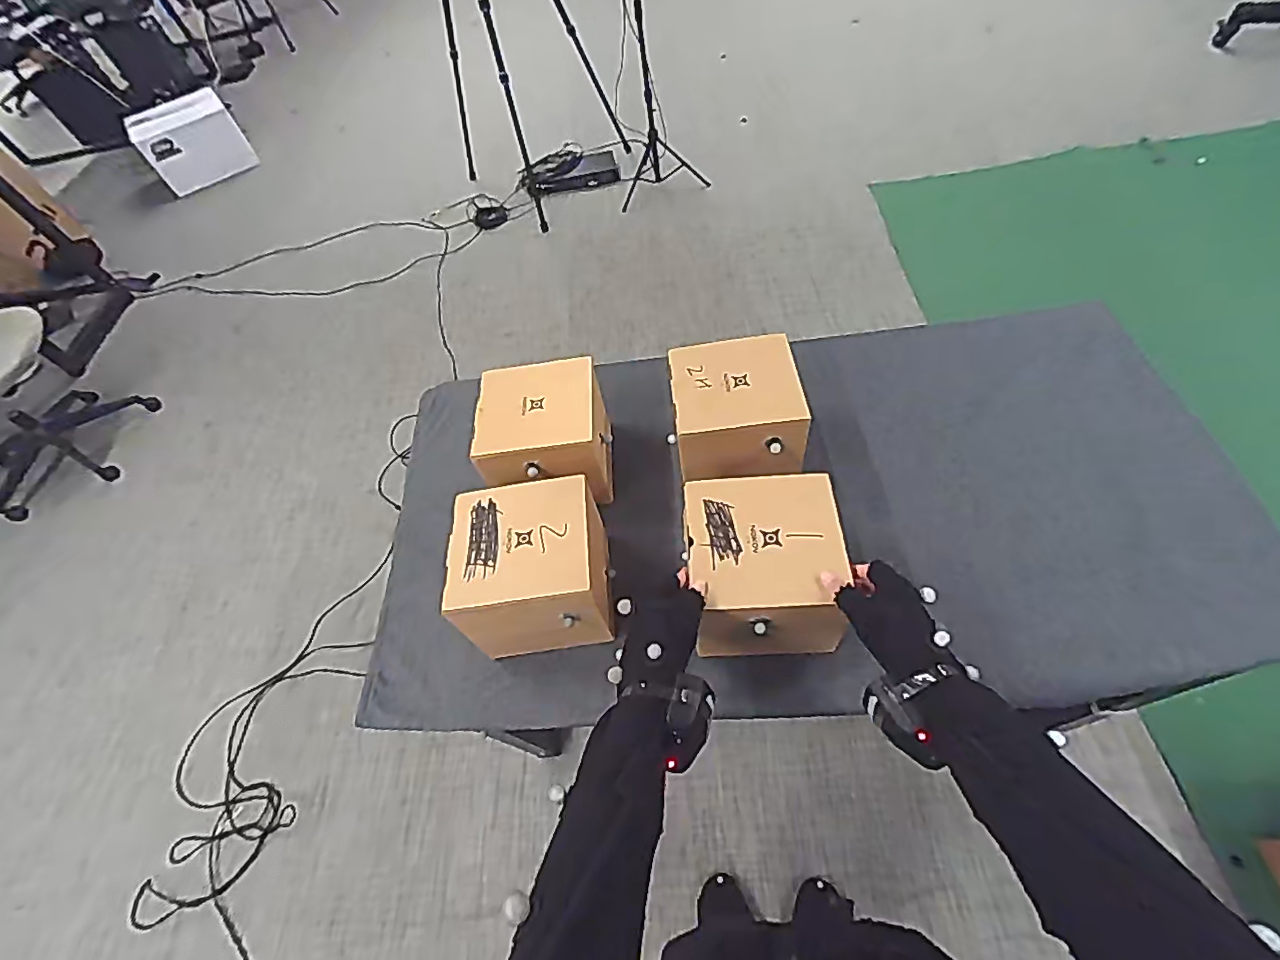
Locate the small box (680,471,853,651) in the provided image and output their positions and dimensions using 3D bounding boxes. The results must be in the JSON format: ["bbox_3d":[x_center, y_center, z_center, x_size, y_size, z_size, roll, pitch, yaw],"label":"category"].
[{"bbox_3d":[0.147,0.108,0.674,0.179,0.176,0.168,-5,56,7],"label":"small box"}]

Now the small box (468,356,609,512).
[{"bbox_3d":[-0.145,-0.066,0.845,0.179,0.176,0.168,-8,56,6],"label":"small box"}]
